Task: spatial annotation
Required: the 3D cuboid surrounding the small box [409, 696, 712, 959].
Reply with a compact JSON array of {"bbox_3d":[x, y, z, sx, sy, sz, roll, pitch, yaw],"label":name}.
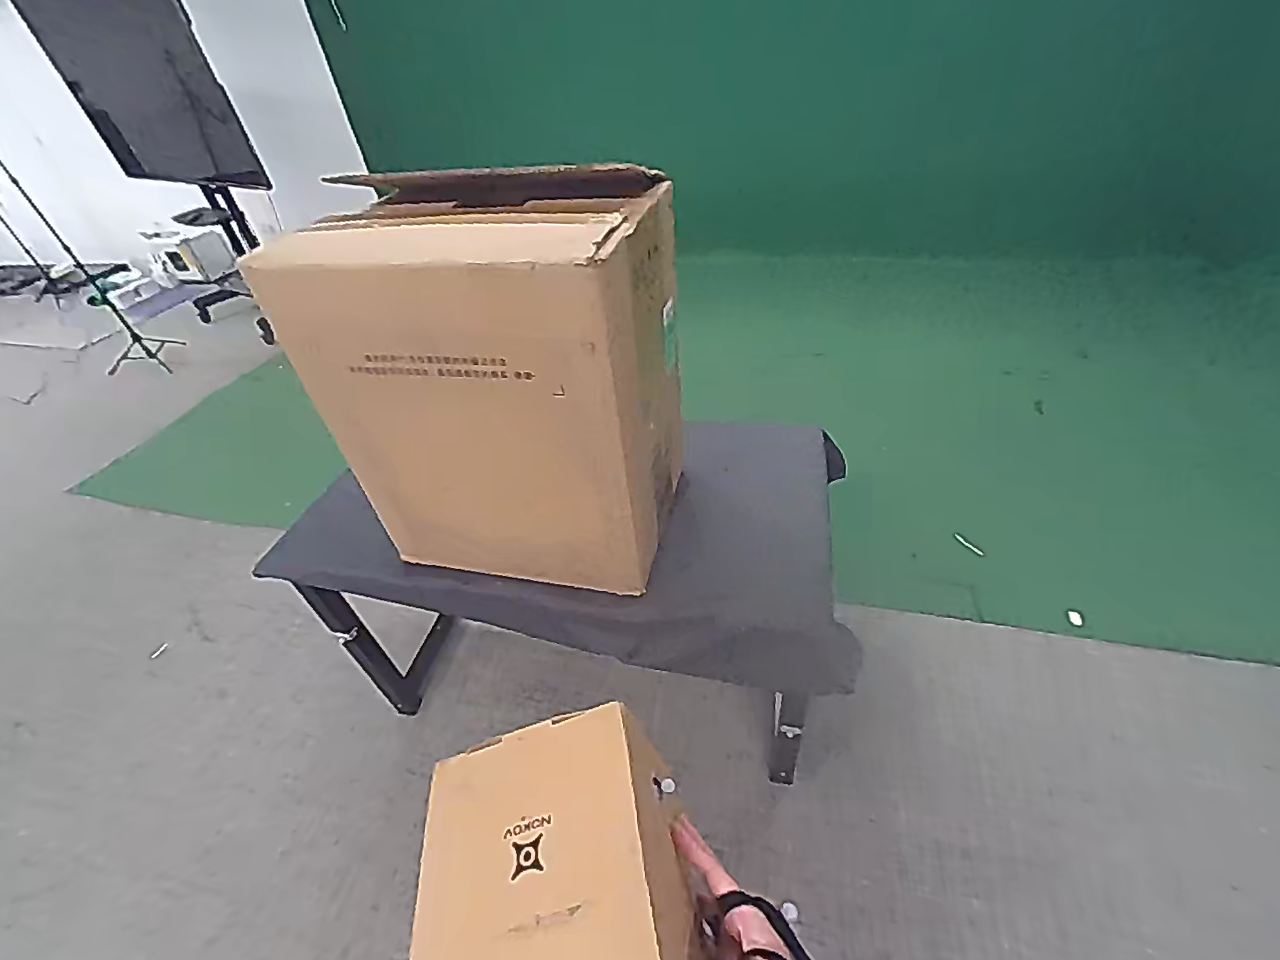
[{"bbox_3d":[-0.054,0.309,0.423,0.168,0.176,0.179,-21,39,2],"label":"small box"}]
